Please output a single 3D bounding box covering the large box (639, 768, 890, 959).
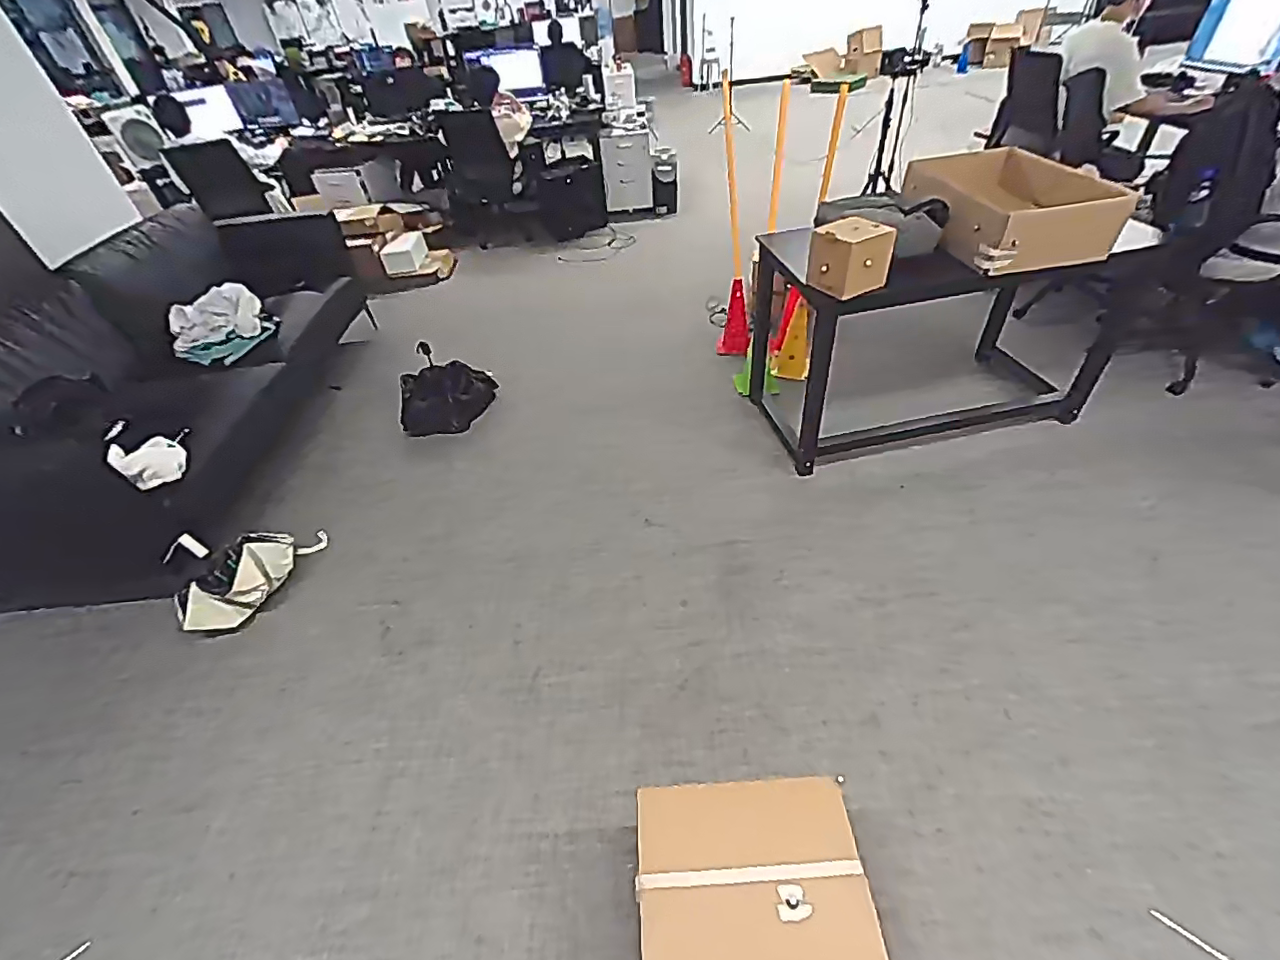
[{"bbox_3d":[0.216,0.815,1.084,0.408,0.320,0.320,-6,43,2],"label":"large box"}]
